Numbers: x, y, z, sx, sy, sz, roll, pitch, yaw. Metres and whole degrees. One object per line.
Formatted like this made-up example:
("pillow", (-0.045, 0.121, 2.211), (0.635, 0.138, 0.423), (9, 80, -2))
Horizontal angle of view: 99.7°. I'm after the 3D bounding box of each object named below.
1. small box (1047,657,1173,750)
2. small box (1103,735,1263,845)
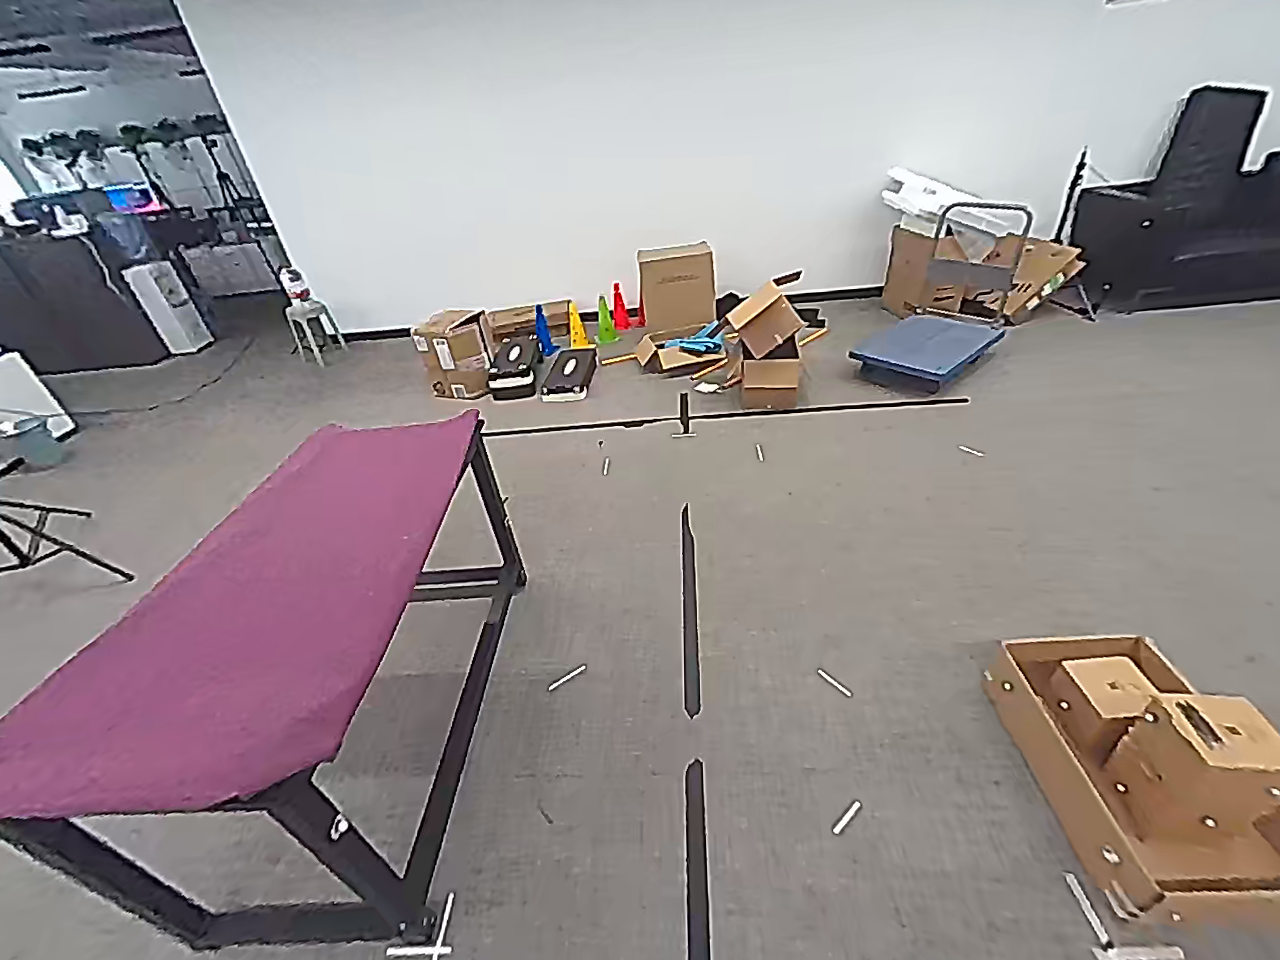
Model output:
("small box", (1.223, 0.593, 1.429), (0.179, 0.176, 0.168), (-5, 36, 3))
("small box", (1.239, 0.719, 1.253), (0.179, 0.176, 0.168), (-2, 33, 8))
